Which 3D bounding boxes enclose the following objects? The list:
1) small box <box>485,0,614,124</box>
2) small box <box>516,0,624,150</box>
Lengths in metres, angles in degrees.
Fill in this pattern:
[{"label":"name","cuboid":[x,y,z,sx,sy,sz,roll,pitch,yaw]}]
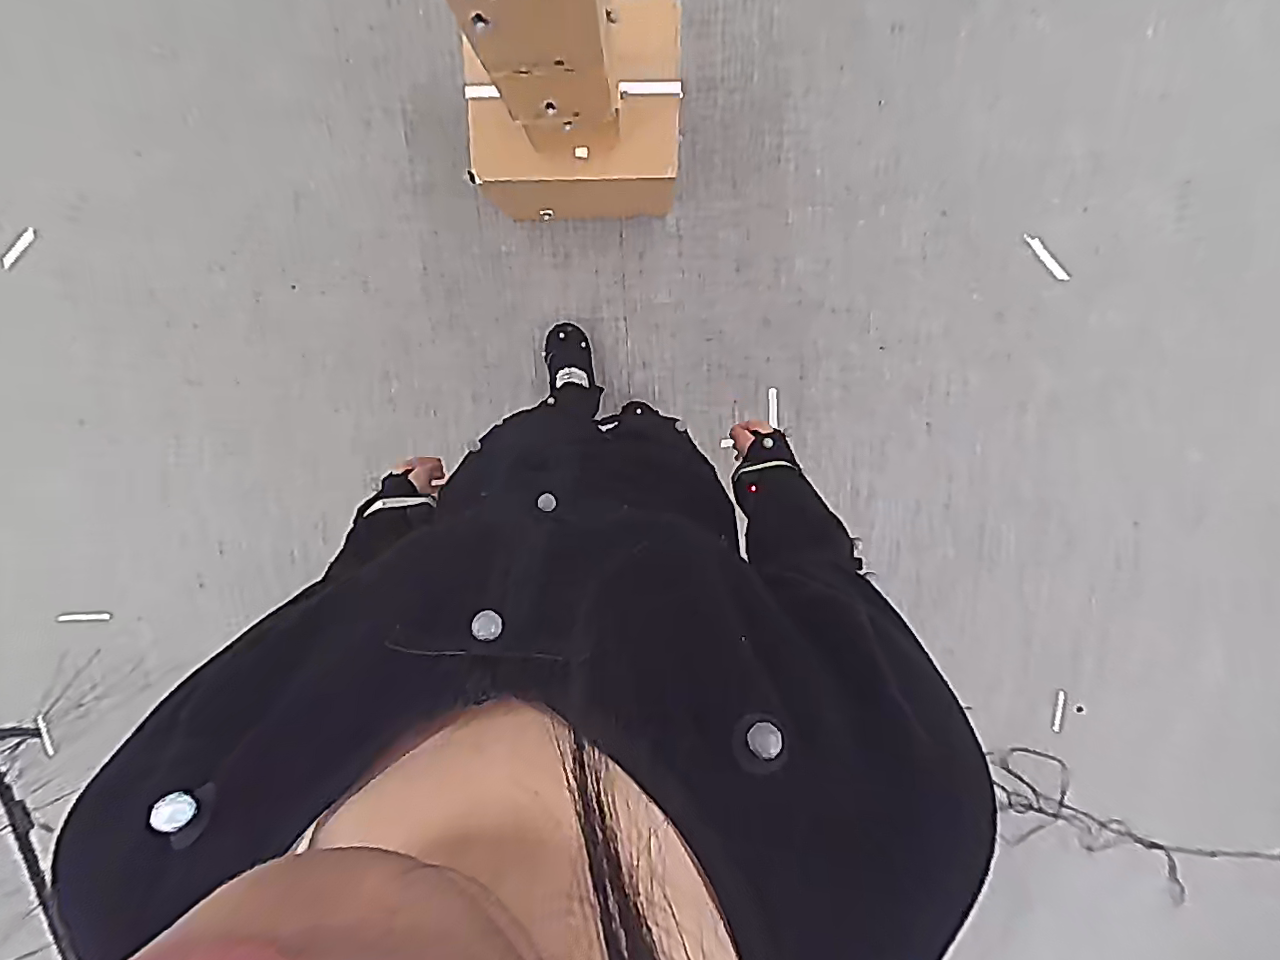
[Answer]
[{"label":"small box","cuboid":[-0.125,-0.654,0.792,0.168,0.176,0.179,-2,104,1]},{"label":"small box","cuboid":[-0.122,-0.699,0.948,0.179,0.176,0.168,-3,104,0]}]
